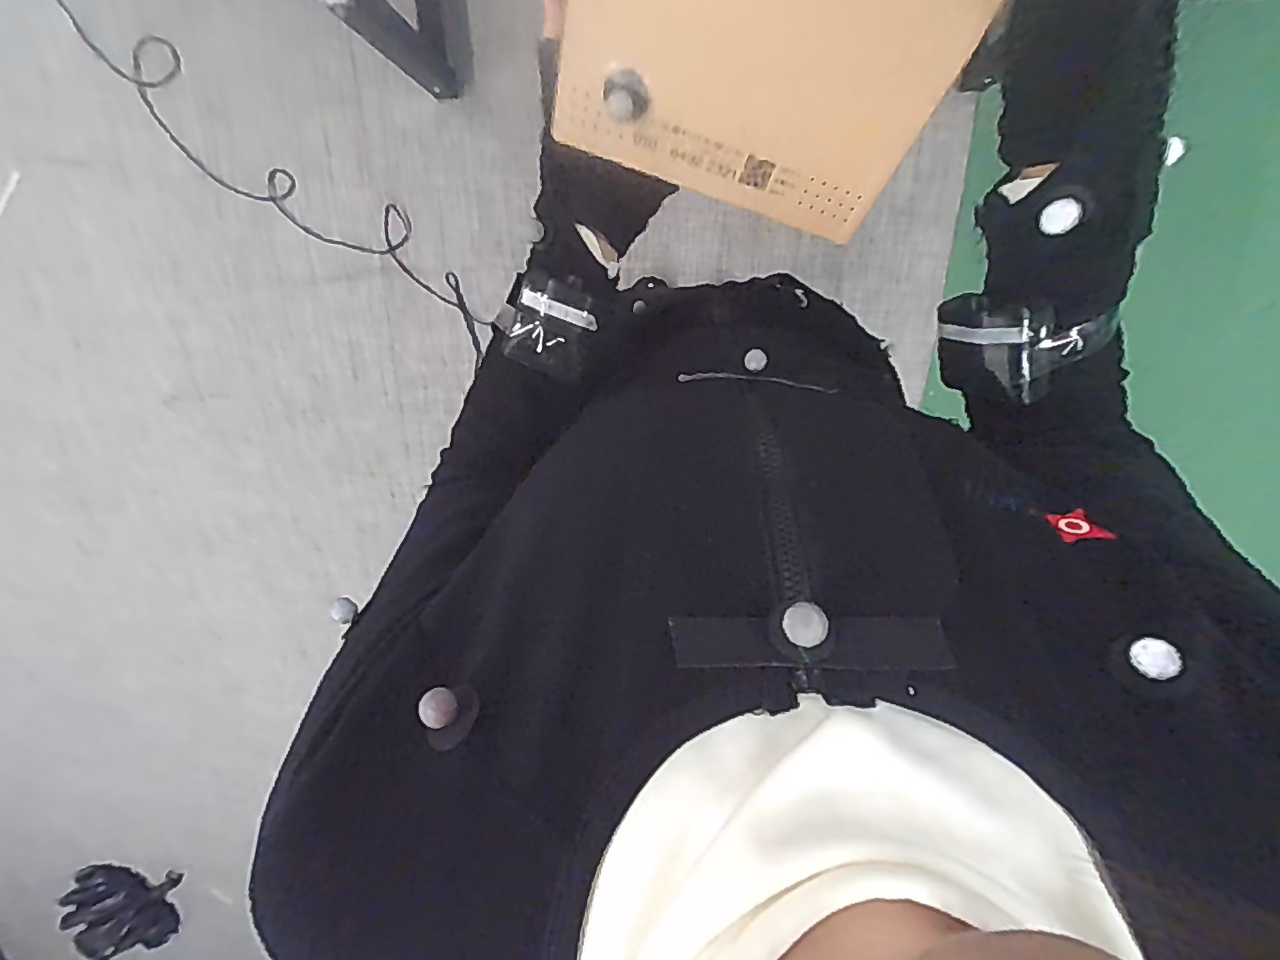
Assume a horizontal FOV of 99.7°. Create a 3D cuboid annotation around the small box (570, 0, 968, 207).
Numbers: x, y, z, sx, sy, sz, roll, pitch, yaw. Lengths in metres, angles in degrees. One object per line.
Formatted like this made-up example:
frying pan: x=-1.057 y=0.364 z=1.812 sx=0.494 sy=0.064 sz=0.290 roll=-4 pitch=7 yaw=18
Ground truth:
small box: x=0.069 y=-0.273 z=0.267 sx=0.168 sy=0.179 sz=0.176 roll=17 pitch=146 yaw=-7
